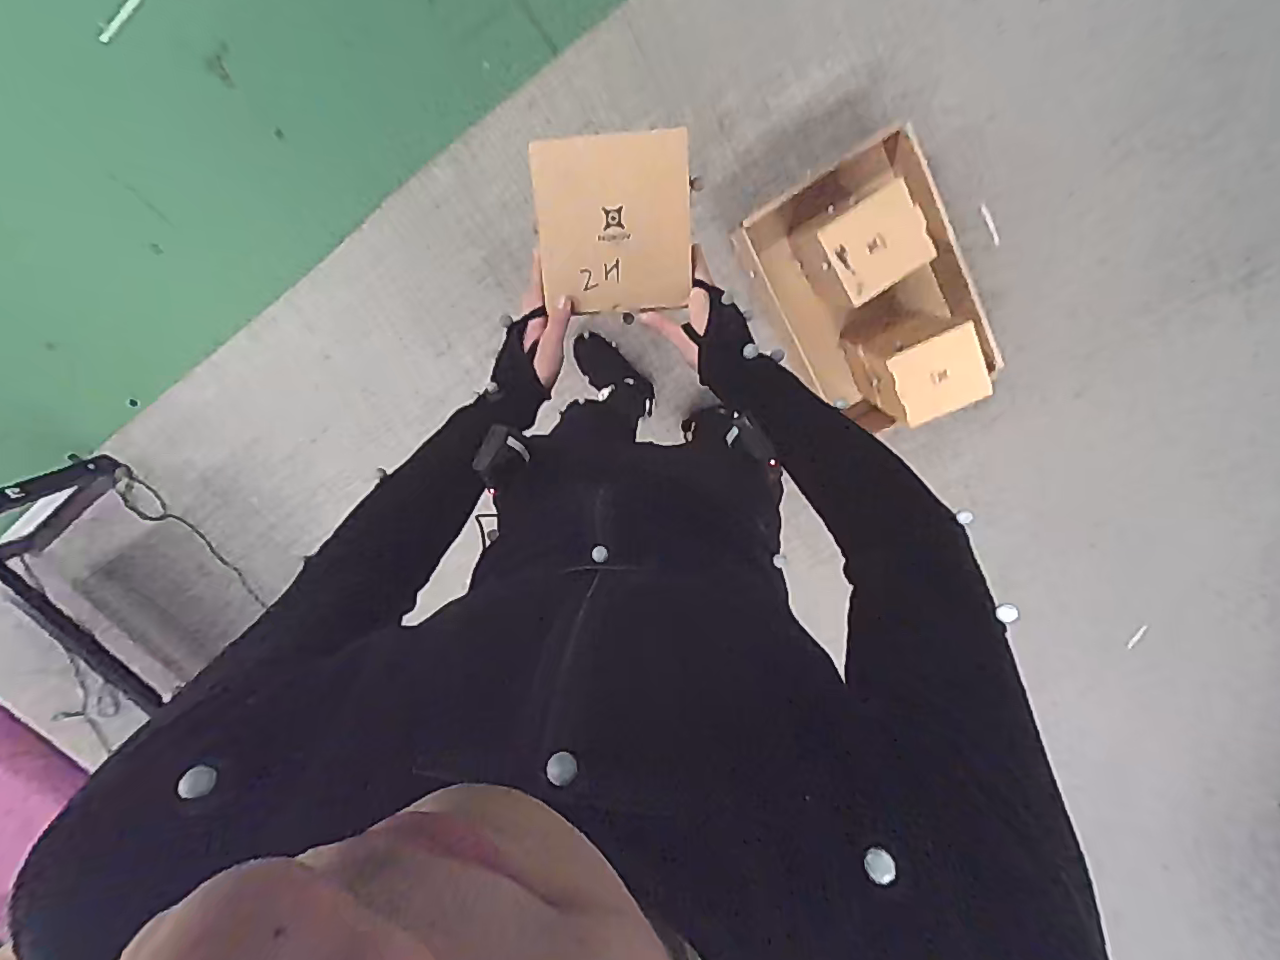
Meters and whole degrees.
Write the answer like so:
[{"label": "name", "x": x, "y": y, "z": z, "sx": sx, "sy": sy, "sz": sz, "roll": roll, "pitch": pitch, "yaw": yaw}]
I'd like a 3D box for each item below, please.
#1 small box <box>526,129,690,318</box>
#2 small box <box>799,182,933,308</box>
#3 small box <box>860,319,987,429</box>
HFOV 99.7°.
[{"label": "small box", "x": -0.027, "y": -0.291, "z": 0.647, "sx": 0.168, "sy": 0.176, "sz": 0.179, "roll": -3, "pitch": 109, "yaw": 5}, {"label": "small box", "x": 0.455, "y": -0.476, "z": 1.115, "sx": 0.179, "sy": 0.176, "sz": 0.168, "roll": -31, "pitch": 105, "yaw": 13}, {"label": "small box", "x": 0.621, "y": -0.242, "z": 1.201, "sx": 0.179, "sy": 0.176, "sz": 0.168, "roll": -24, "pitch": 109, "yaw": 13}]
